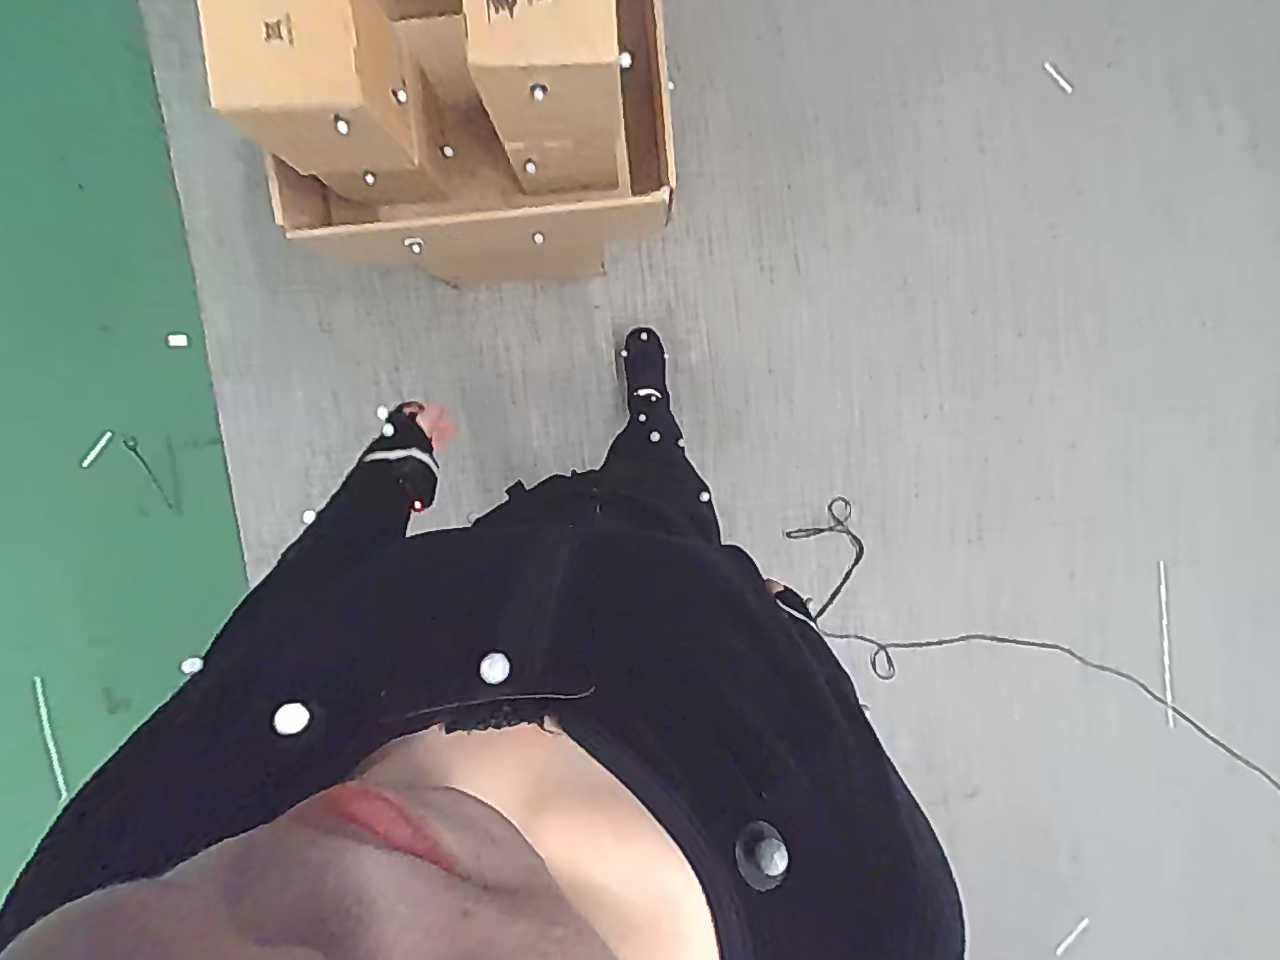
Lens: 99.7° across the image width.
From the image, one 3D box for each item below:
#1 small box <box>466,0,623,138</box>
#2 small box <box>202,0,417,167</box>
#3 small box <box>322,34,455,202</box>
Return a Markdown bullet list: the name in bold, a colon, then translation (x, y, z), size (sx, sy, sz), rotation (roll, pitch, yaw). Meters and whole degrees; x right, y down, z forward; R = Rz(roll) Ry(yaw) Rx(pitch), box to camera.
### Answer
- **small box**: translation (-0.113, -0.567, 0.693), size (0.179, 0.176, 0.168), rotation (-2, 96, -1)
- **small box**: translation (-0.413, -0.528, 0.700), size (0.179, 0.176, 0.168), rotation (-3, 96, -1)
- **small box**: translation (-0.413, -0.561, 0.860), size (0.179, 0.176, 0.168), rotation (-4, 96, -1)
